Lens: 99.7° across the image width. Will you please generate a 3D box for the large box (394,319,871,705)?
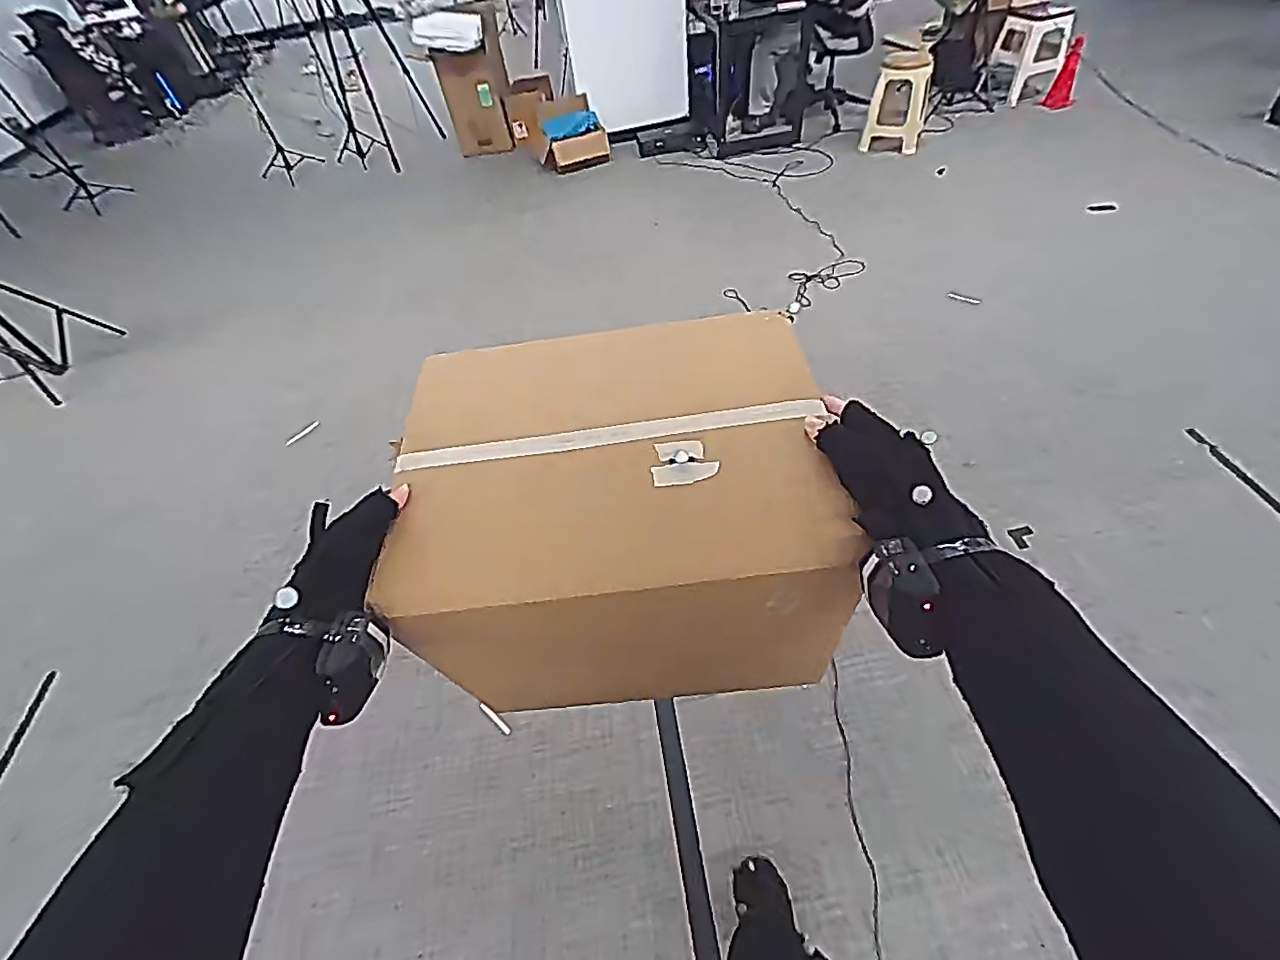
[{"bbox_3d":[-0.006,0.051,0.645,0.408,0.320,0.320,-7,54,2],"label":"large box"}]
